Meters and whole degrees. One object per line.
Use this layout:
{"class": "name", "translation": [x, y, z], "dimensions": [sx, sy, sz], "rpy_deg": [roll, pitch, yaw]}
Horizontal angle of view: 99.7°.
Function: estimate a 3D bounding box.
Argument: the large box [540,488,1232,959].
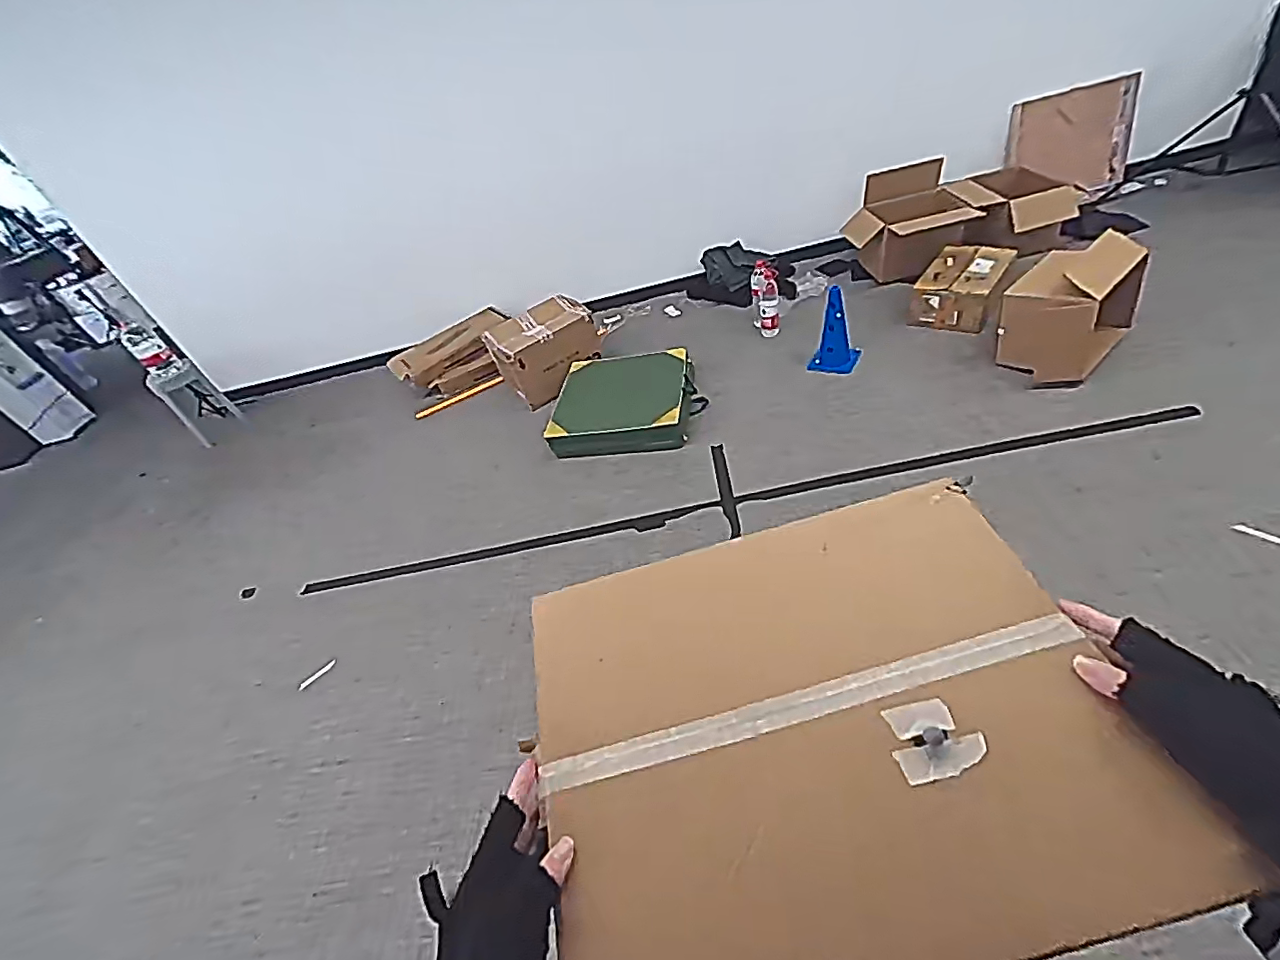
{"class": "large box", "translation": [0.152, 0.267, 0.521], "dimensions": [0.408, 0.320, 0.320], "rpy_deg": [-16, 48, 0]}
